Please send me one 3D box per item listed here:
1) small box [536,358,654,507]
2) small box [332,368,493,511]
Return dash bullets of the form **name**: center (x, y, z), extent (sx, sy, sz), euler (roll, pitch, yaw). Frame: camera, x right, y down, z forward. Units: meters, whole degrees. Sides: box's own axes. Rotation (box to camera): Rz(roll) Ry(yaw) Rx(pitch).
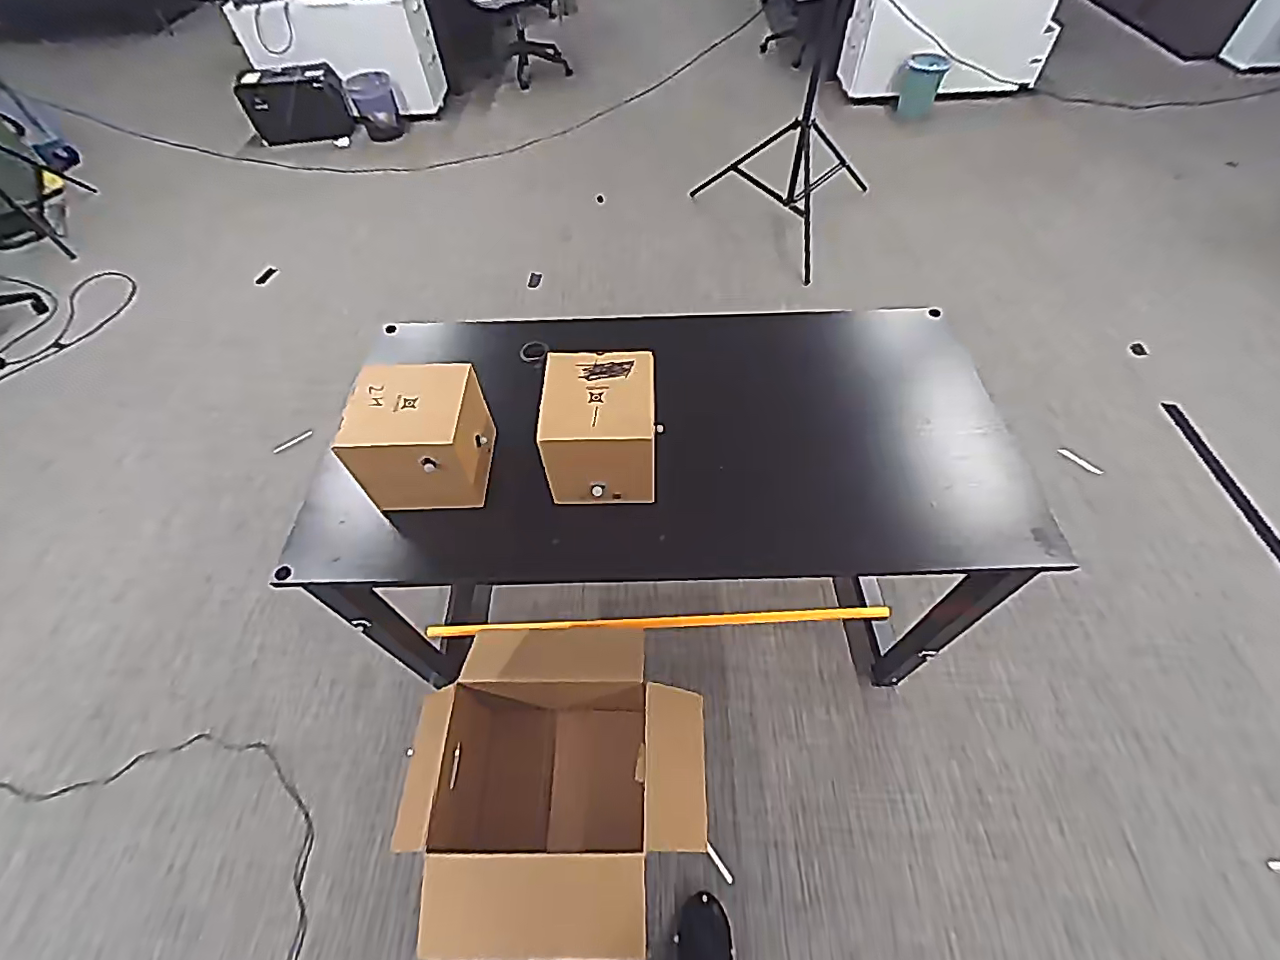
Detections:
- **small box**: center (-0.063, -0.075, 0.872), extent (0.168, 0.176, 0.179), euler (-1, 55, 2)
- **small box**: center (-0.348, -0.061, 0.872), extent (0.179, 0.176, 0.168), euler (-2, 54, 1)
